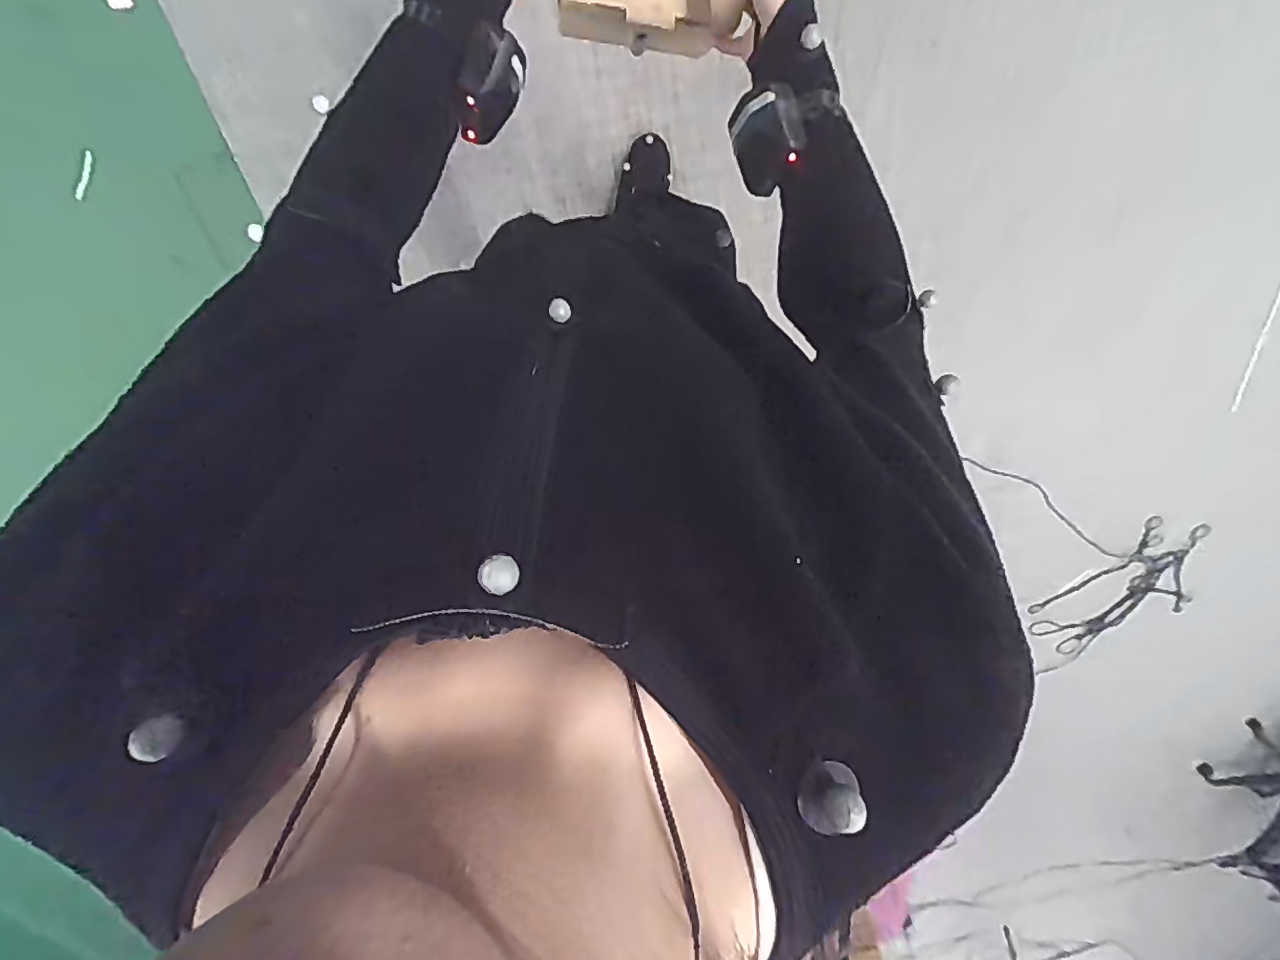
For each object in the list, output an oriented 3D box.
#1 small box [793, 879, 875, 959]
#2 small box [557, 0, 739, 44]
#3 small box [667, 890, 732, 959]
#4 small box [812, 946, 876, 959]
[{"bbox_3d":[0.546,1.263,1.531,0.179,0.176,0.168,-12,121,6],"label":"small box"},{"bbox_3d":[0.008,-0.528,0.495,0.168,0.176,0.179,2,122,-9],"label":"small box"},{"bbox_3d":[0.171,1.307,1.542,0.168,0.176,0.179,-7,122,2],"label":"small box"},{"bbox_3d":[0.545,1.345,1.391,0.179,0.176,0.168,-14,120,6],"label":"small box"}]
